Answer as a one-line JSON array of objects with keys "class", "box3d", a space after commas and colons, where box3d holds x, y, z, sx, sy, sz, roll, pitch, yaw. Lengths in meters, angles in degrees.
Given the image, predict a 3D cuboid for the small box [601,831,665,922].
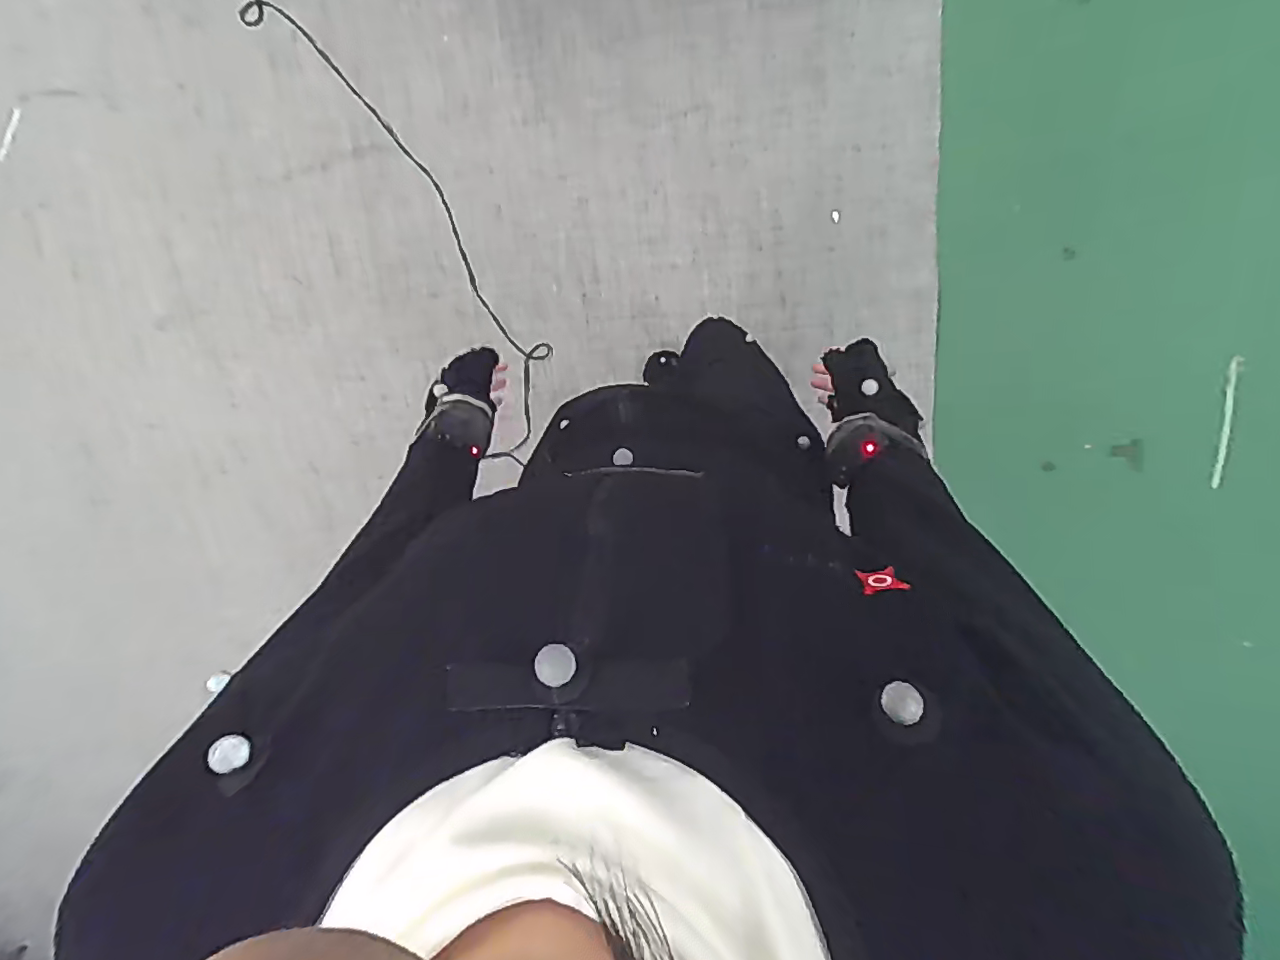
[{"class": "small box", "box3d": [-0.017, 1.243, 1.703, 0.179, 0.176, 0.168, -4, 105, 7]}]
